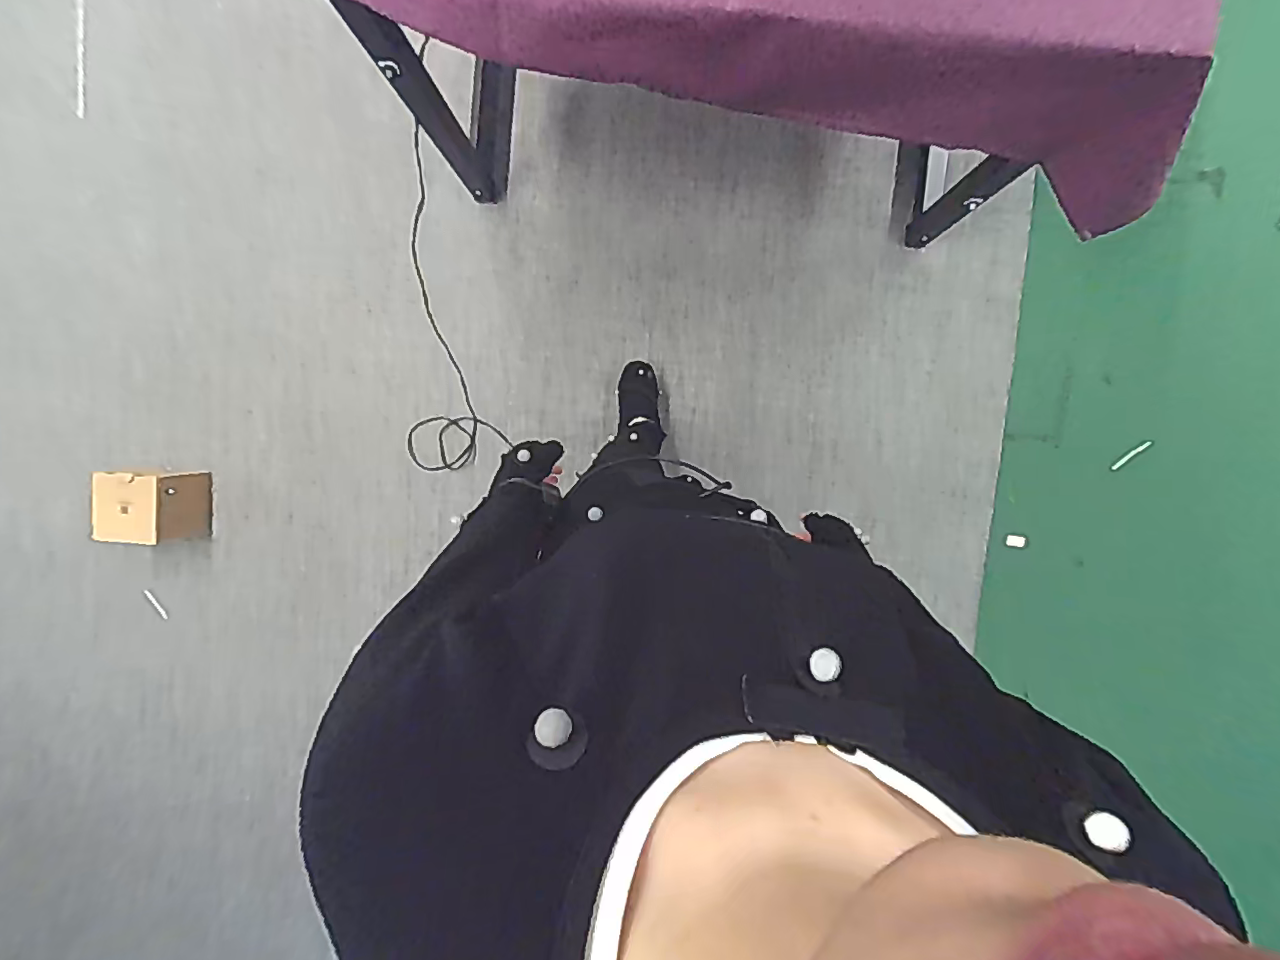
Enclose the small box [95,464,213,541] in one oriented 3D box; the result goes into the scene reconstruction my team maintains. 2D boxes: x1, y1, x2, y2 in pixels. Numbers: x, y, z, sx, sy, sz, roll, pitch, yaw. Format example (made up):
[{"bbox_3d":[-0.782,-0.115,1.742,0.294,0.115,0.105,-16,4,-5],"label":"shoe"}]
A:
[{"bbox_3d":[-1.272,0.054,1.425,0.168,0.176,0.179,5,94,1],"label":"small box"}]
